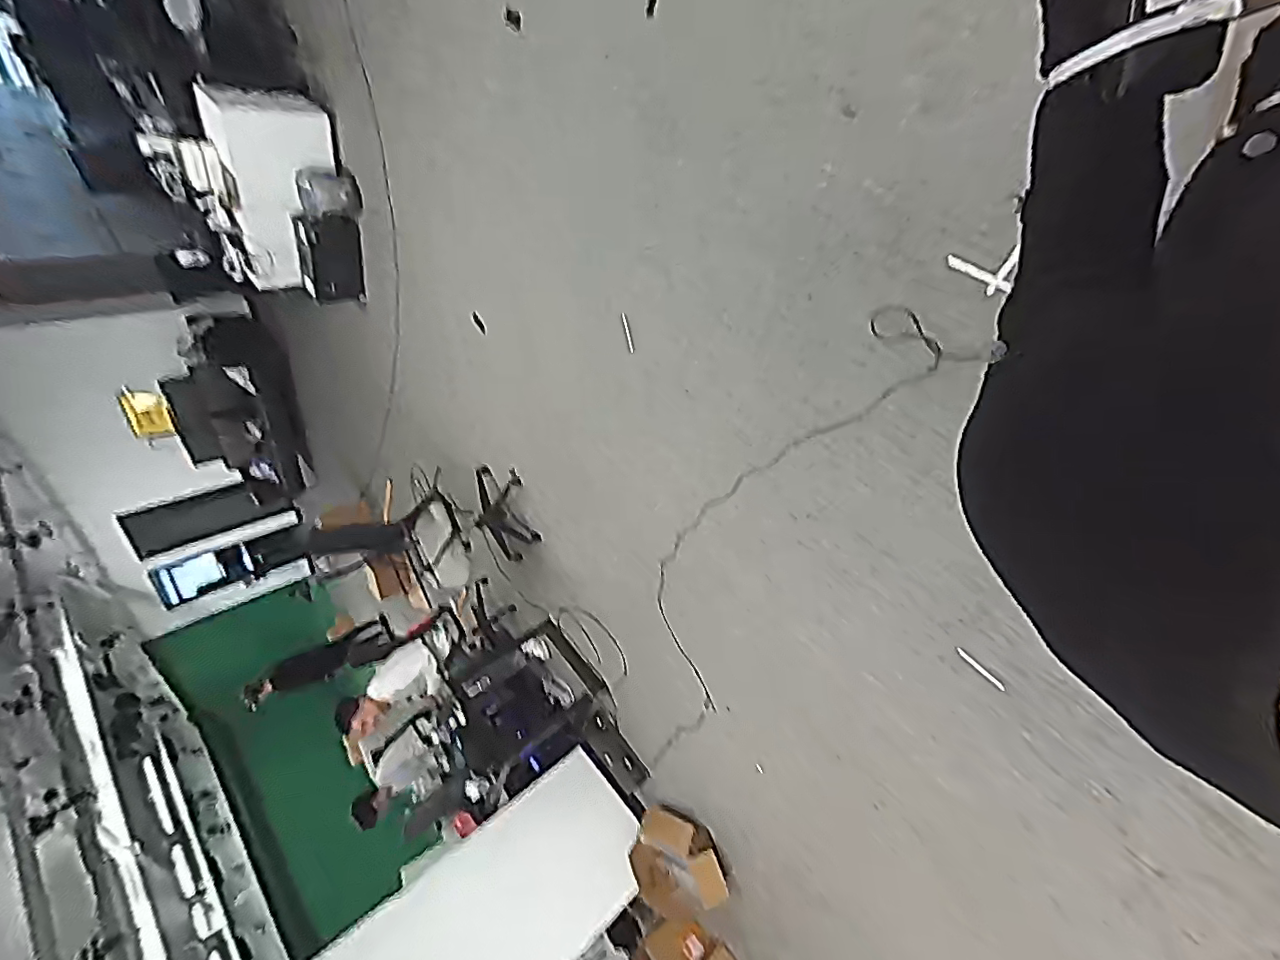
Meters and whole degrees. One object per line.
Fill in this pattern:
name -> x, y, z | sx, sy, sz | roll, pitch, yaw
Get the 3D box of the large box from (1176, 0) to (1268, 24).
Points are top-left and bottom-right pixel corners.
large box -> 0.530, -0.503, 0.244 | 0.408, 0.320, 0.320 | 8, 120, 45
